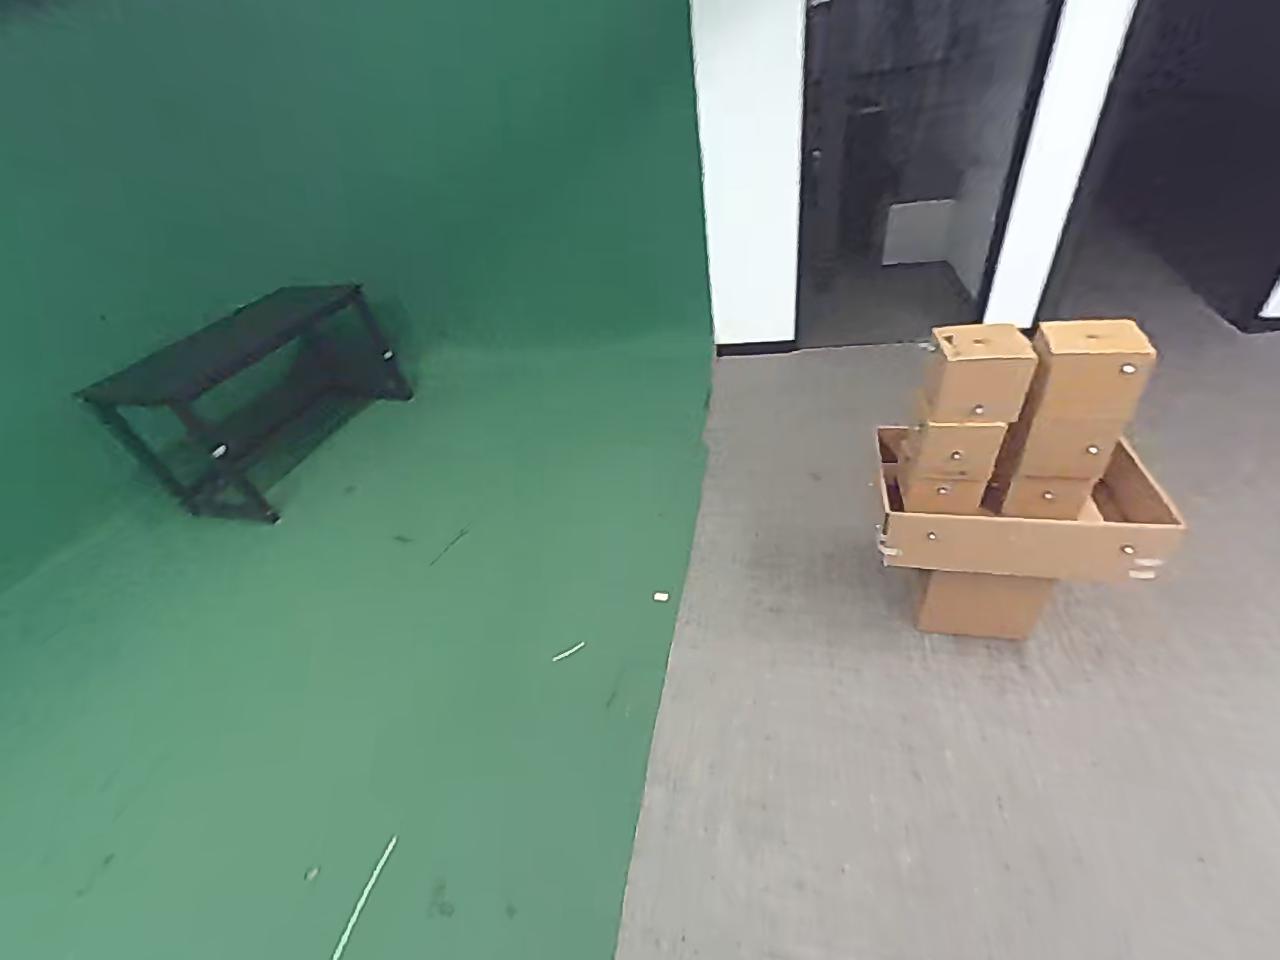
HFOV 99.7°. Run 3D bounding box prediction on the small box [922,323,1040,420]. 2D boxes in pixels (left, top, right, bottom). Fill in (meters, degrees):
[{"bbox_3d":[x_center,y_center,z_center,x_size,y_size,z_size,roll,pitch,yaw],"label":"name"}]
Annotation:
[{"bbox_3d":[0.783,-0.251,1.263,0.179,0.176,0.168,1,41,14],"label":"small box"}]
